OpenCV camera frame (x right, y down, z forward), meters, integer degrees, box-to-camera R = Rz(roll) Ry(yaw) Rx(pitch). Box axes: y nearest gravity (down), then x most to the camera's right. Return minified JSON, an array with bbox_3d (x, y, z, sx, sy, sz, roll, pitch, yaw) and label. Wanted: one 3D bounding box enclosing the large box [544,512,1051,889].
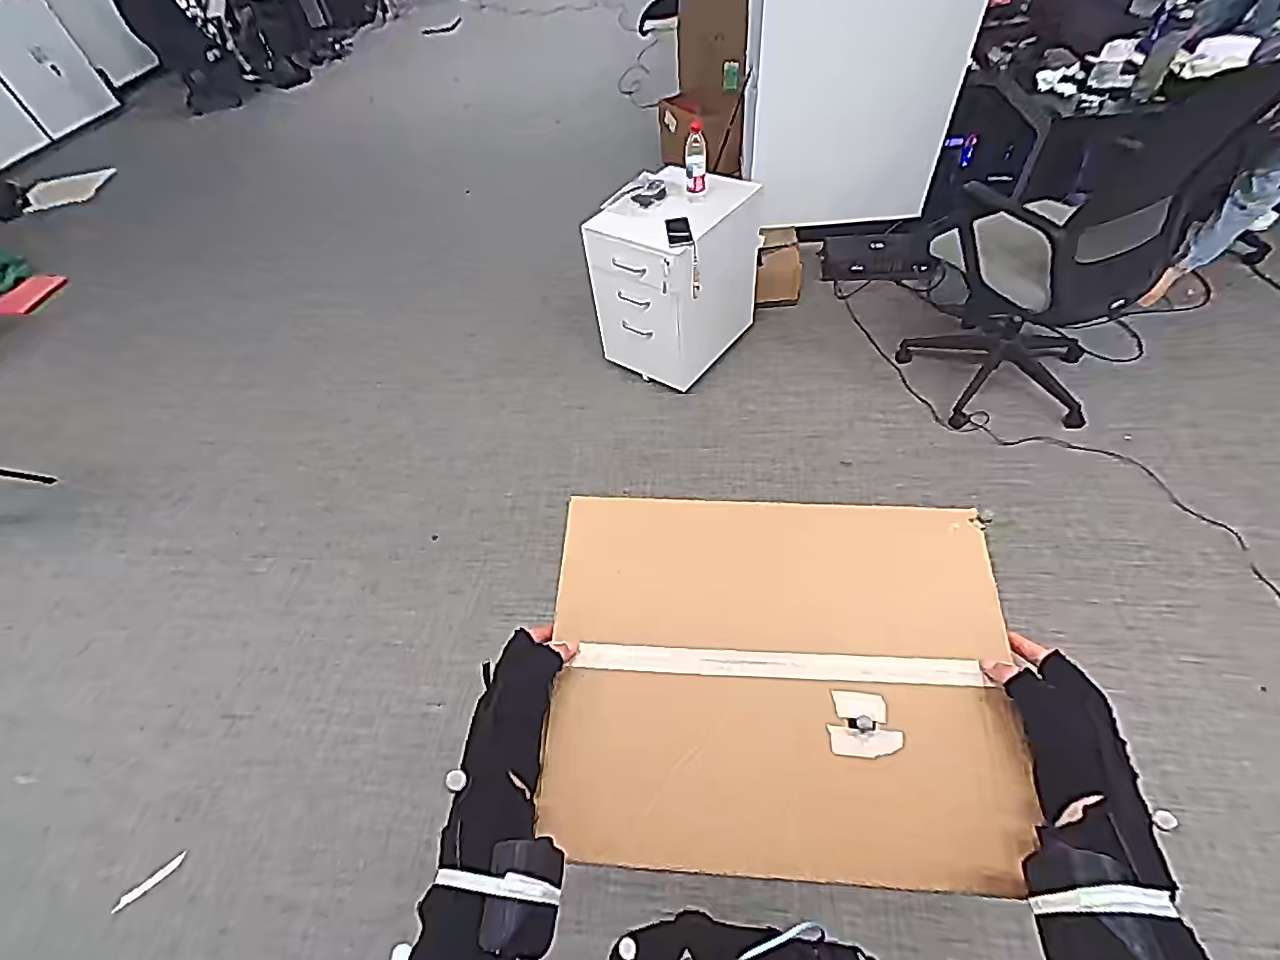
[{"bbox_3d":[0.129,0.239,0.621,0.408,0.320,0.320,1,65,3],"label":"large box"}]
